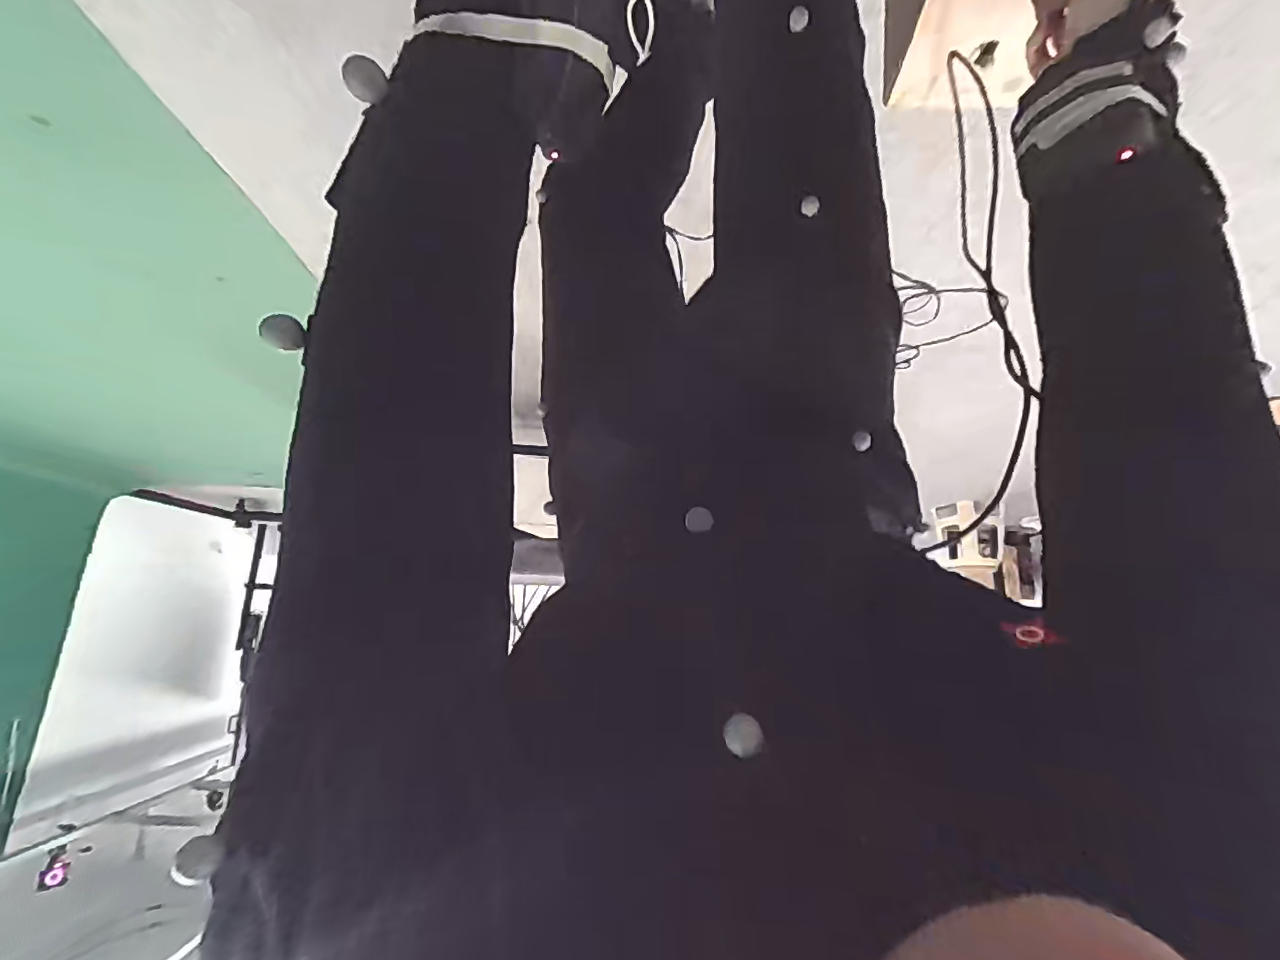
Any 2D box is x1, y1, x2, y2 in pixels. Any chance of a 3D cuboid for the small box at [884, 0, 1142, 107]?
[{"bbox_3d":[0.311,-0.450,0.443,0.168,0.179,0.176,4,172,8],"label":"small box"}]
